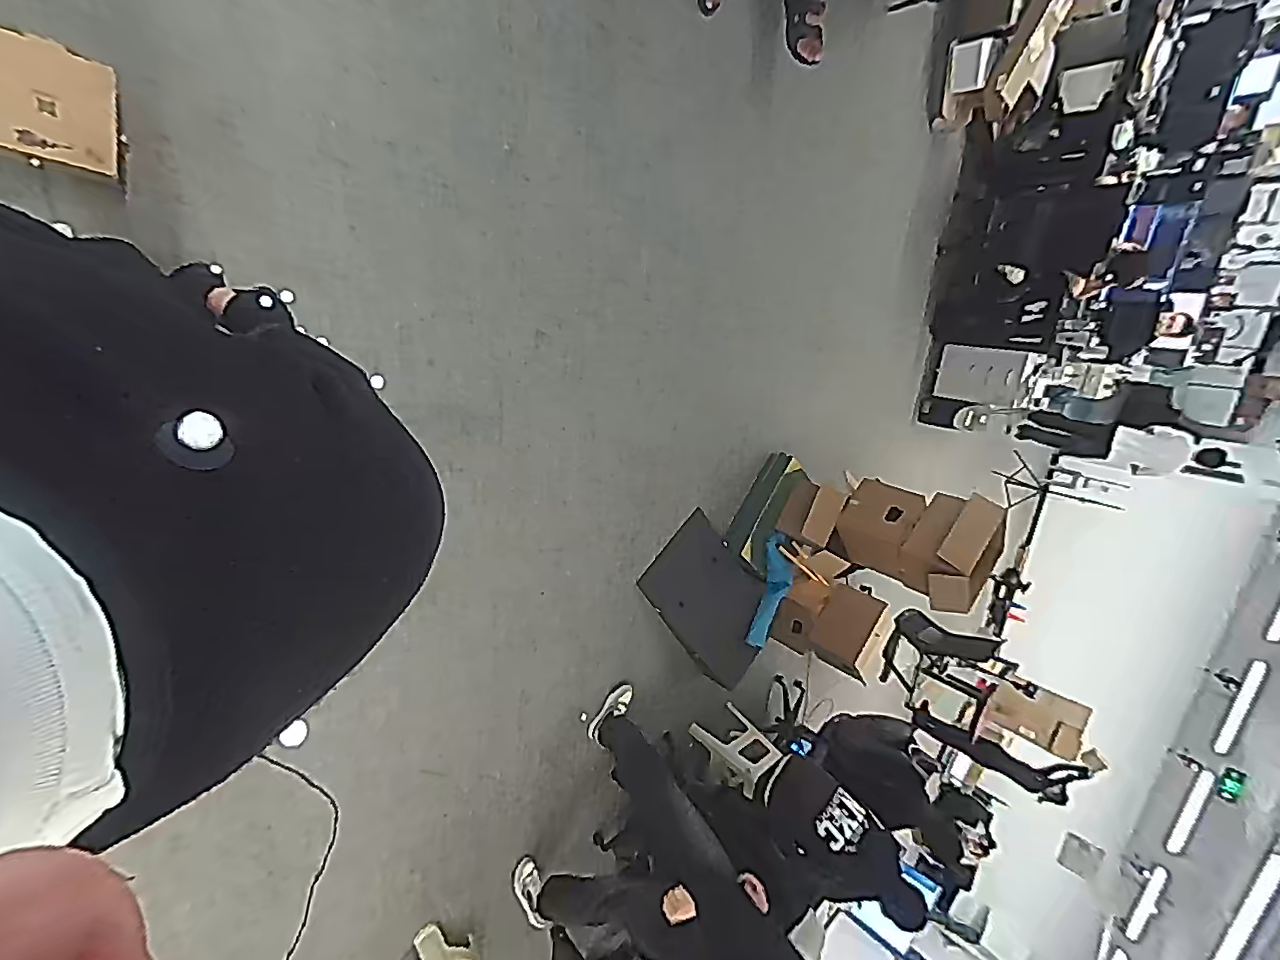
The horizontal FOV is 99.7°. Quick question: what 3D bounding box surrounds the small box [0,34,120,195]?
[{"bbox_3d":[-1.022,-0.622,0.938,0.168,0.176,0.179,-1,105,-46],"label":"small box"}]
